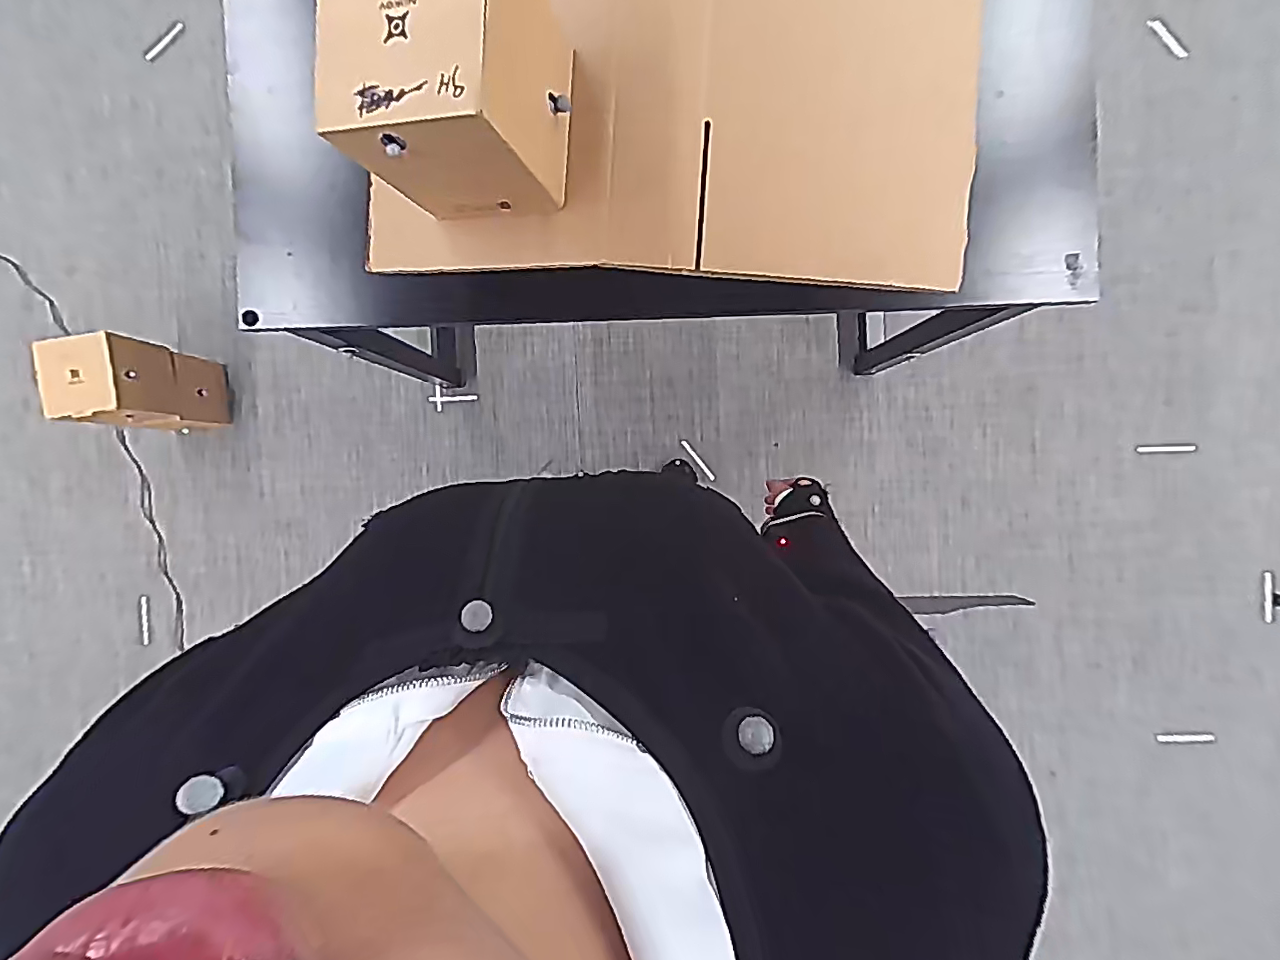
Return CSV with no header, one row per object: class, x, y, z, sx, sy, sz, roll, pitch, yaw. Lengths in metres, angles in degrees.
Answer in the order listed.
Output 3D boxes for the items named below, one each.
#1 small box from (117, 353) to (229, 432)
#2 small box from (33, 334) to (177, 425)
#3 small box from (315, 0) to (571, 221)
small box,-1.232,-0.225,1.426,0.168,0.176,0.179,-6,92,1
small box,-1.236,-0.226,1.263,0.168,0.176,0.179,-9,90,0
small box,-0.175,-0.379,0.523,0.168,0.176,0.179,4,91,15
